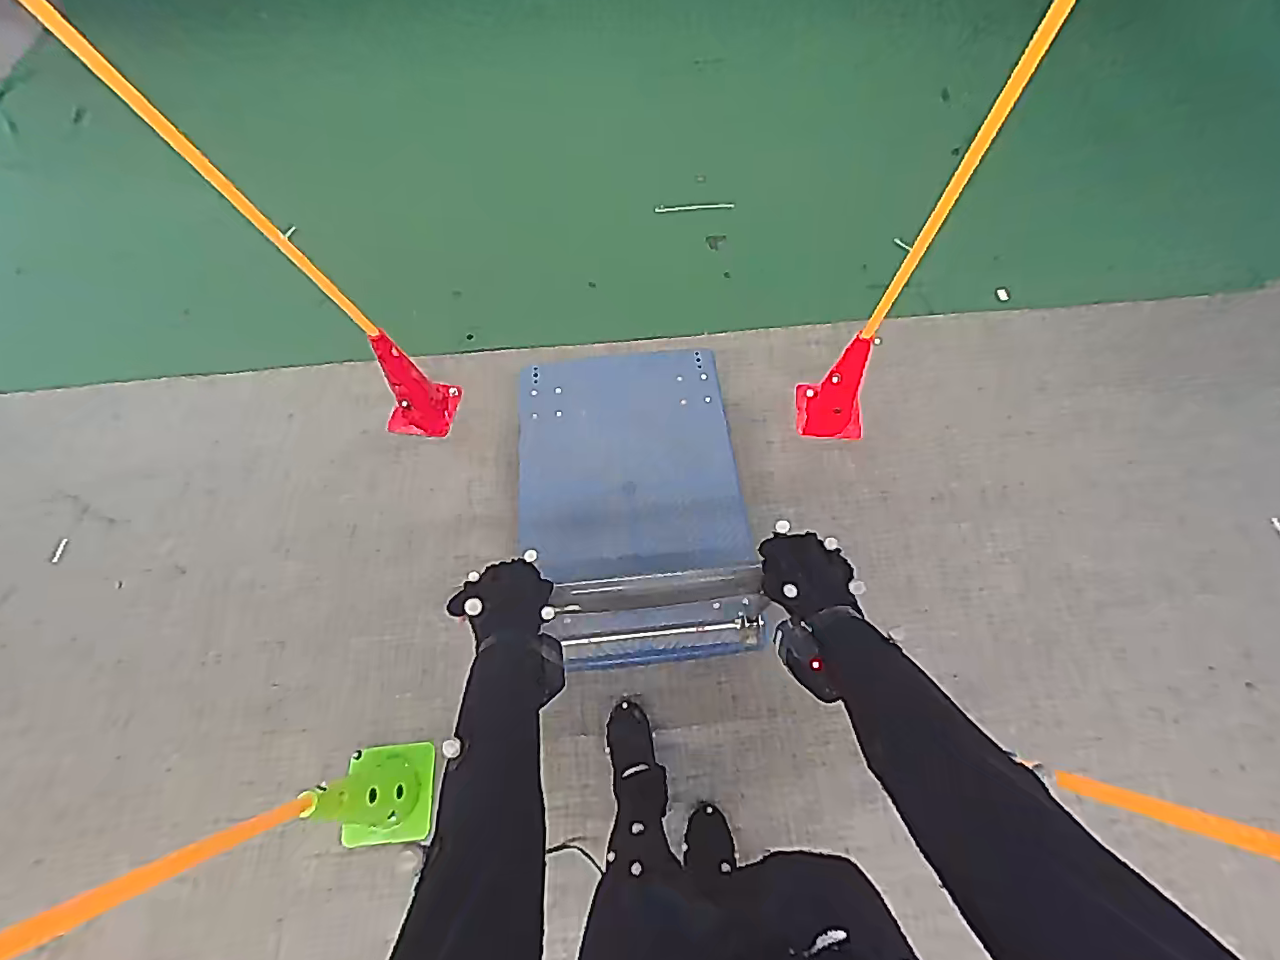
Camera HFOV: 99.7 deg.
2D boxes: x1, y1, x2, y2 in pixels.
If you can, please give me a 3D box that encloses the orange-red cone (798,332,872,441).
[{"bbox_3d":[0.590,-0.287,1.548,0.198,0.360,0.199,5,64,5],"label":"orange-red cone"}]
